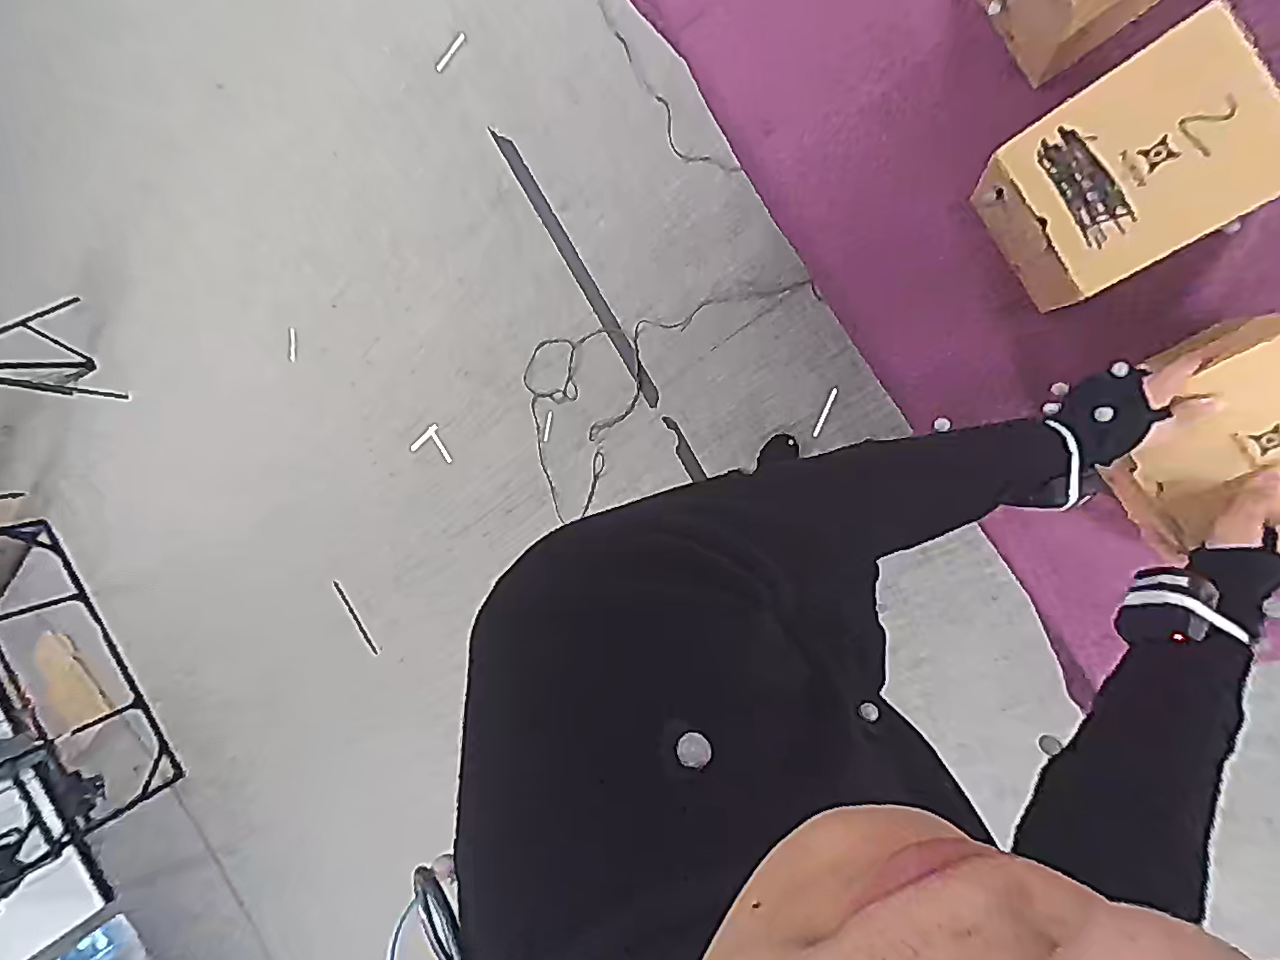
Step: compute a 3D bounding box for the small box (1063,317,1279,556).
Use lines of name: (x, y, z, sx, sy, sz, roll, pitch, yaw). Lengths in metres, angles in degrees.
small box: (0.586, -0.053, 0.551, 0.179, 0.176, 0.168, -34, 86, 28)

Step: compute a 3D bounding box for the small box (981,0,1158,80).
small box: (0.440, -0.538, 0.504, 0.179, 0.176, 0.168, -30, 88, 28)
